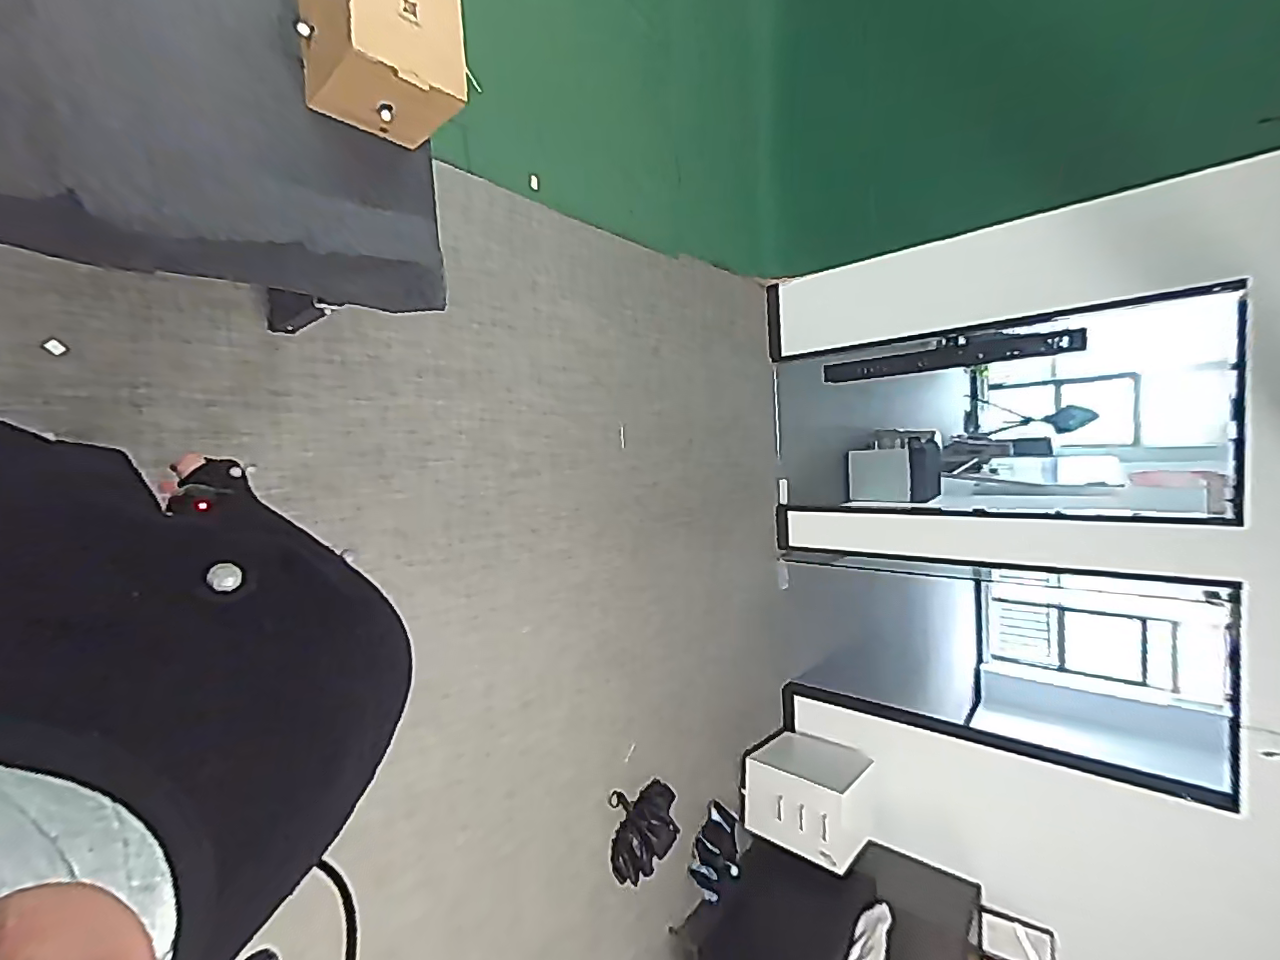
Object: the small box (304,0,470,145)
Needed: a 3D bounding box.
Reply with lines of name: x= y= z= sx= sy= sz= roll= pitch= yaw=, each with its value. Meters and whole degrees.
small box: x=-0.366 y=-0.628 z=0.784 sx=0.168 sy=0.176 sz=0.179 roll=-6 pitch=95 yaw=-49
